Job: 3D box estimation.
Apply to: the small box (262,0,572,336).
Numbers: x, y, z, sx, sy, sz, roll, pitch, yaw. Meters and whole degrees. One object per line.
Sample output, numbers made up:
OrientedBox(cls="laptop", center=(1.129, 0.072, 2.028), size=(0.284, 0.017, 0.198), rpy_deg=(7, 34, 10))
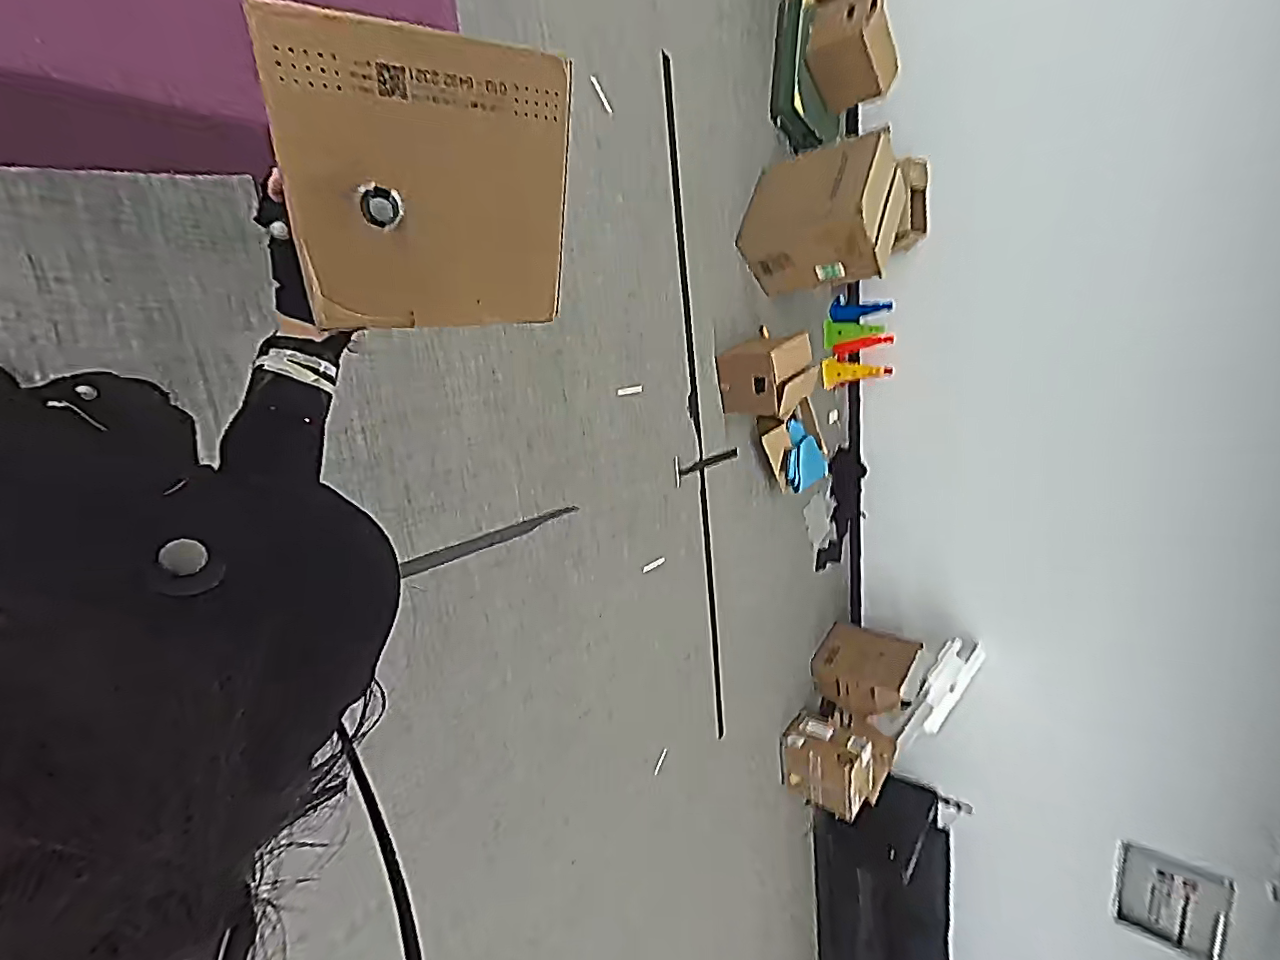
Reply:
OrientedBox(cls="small box", center=(-0.156, -0.219, 0.387), size=(0.168, 0.179, 0.176), rpy_deg=(-10, 130, -29))
